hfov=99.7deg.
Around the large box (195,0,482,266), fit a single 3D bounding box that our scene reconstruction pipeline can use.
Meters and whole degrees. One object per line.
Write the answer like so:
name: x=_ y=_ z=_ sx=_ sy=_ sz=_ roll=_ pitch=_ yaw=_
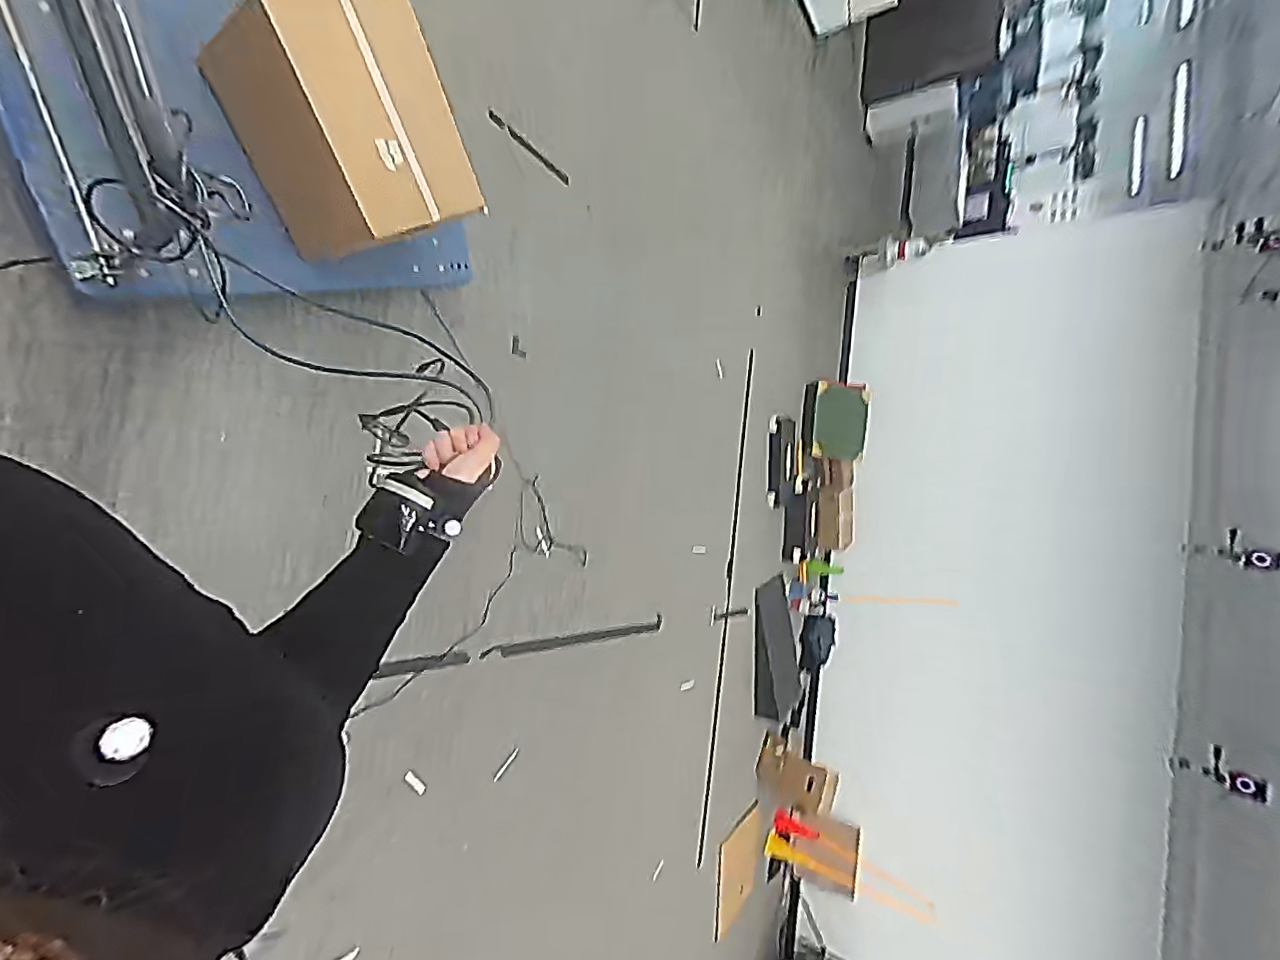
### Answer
large box: x=-0.624 y=-0.726 z=1.162 sx=0.320 sy=0.320 sz=0.408 roll=-45 pitch=128 yaw=-41
